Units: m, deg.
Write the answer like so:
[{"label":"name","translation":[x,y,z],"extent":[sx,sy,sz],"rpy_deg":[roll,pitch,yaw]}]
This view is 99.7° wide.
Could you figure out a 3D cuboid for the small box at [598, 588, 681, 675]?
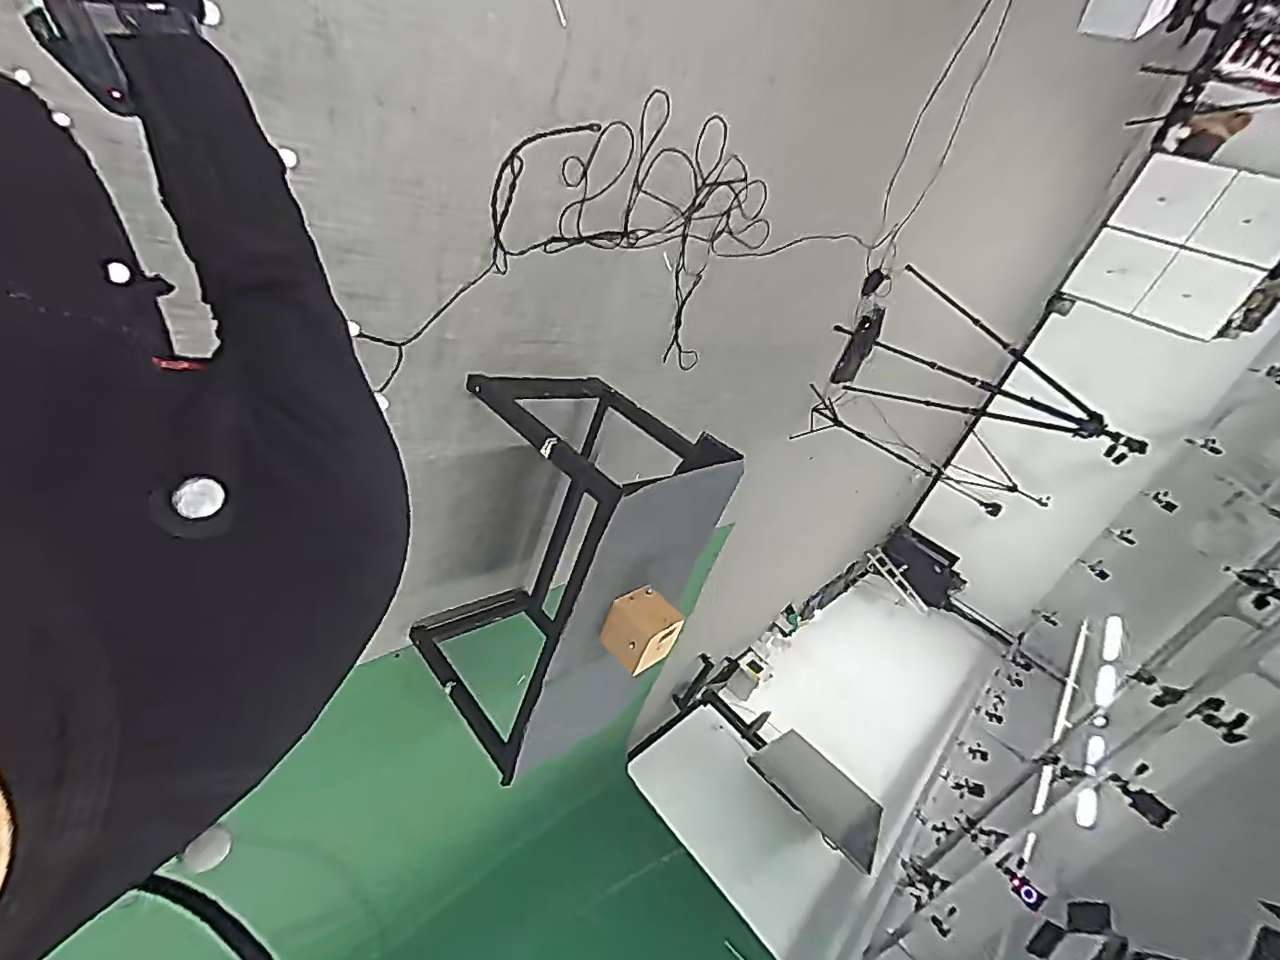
[{"label":"small box","translation":[-0.007,0.460,1.683],"extent":[0.168,0.176,0.179],"rpy_deg":[-13,134,-47]}]
